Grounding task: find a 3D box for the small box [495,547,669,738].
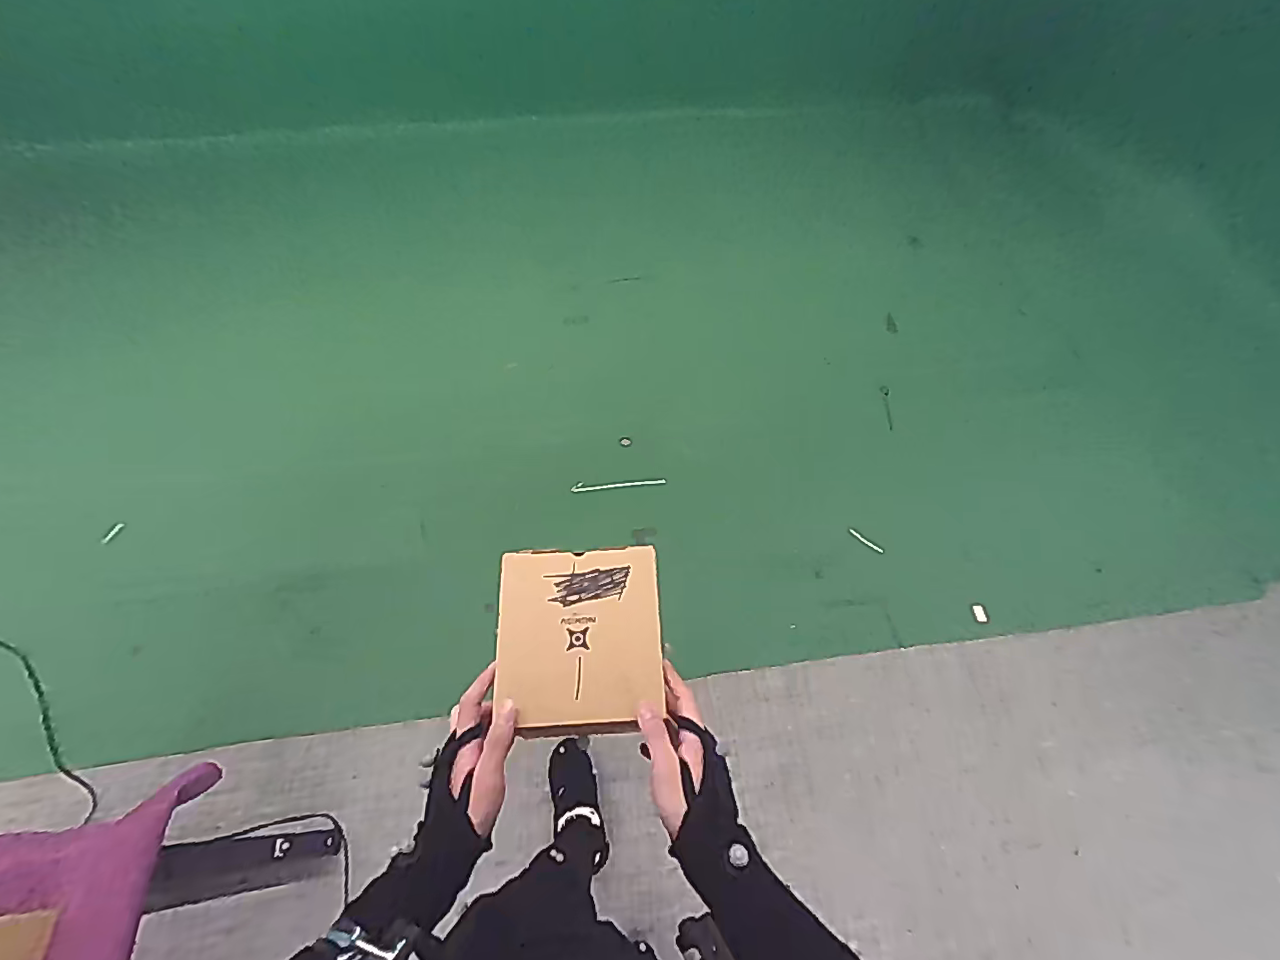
[{"bbox_3d":[-0.058,0.189,0.614,0.168,0.176,0.179,-3,62,-1],"label":"small box"}]
